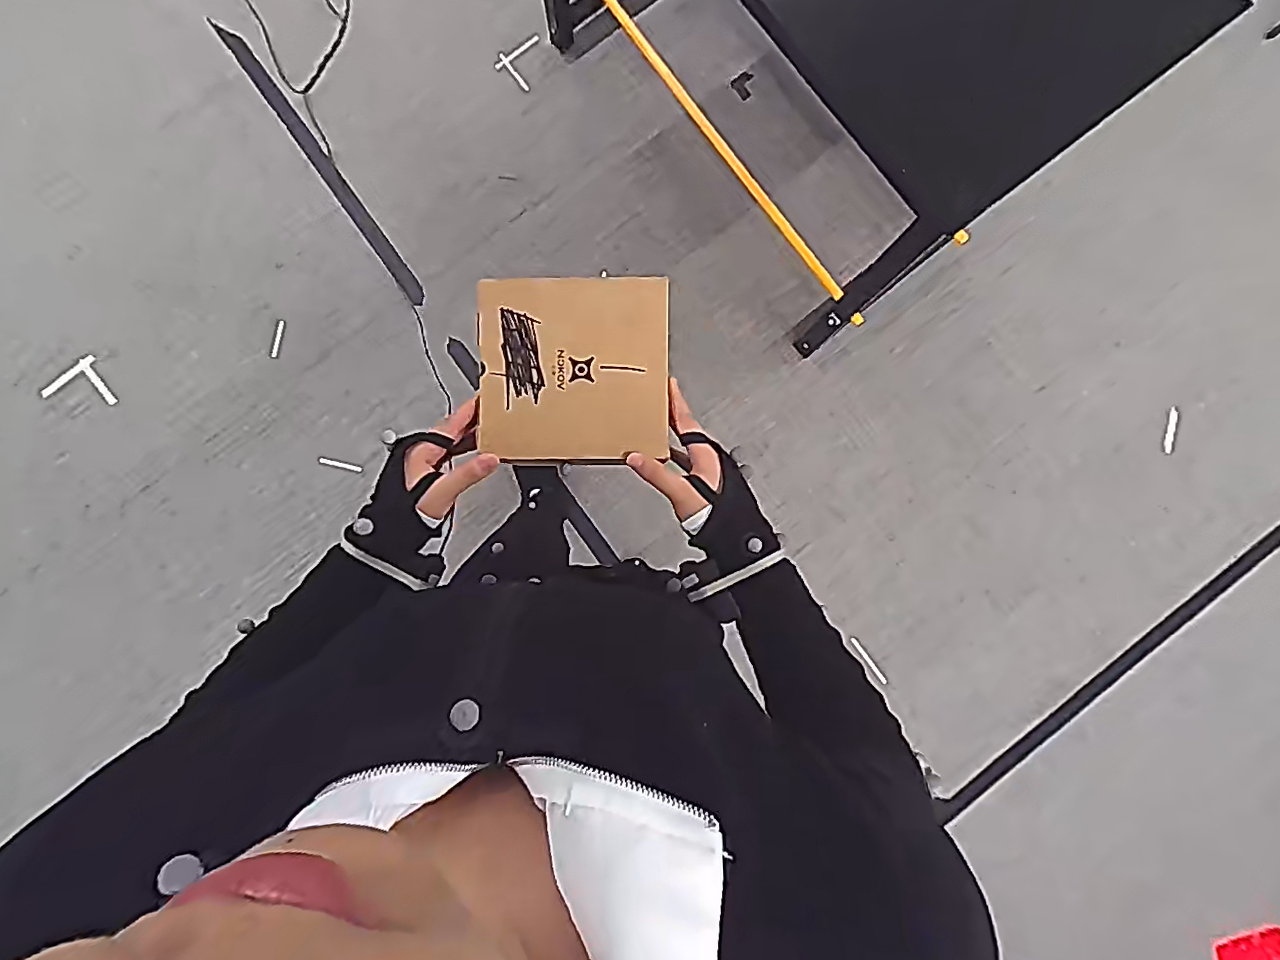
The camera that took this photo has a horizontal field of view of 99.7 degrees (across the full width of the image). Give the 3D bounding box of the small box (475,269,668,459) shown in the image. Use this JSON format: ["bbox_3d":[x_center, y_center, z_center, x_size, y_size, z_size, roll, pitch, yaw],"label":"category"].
[{"bbox_3d":[-0.061,-0.108,0.567,0.179,0.176,0.168,0,90,0],"label":"small box"}]
